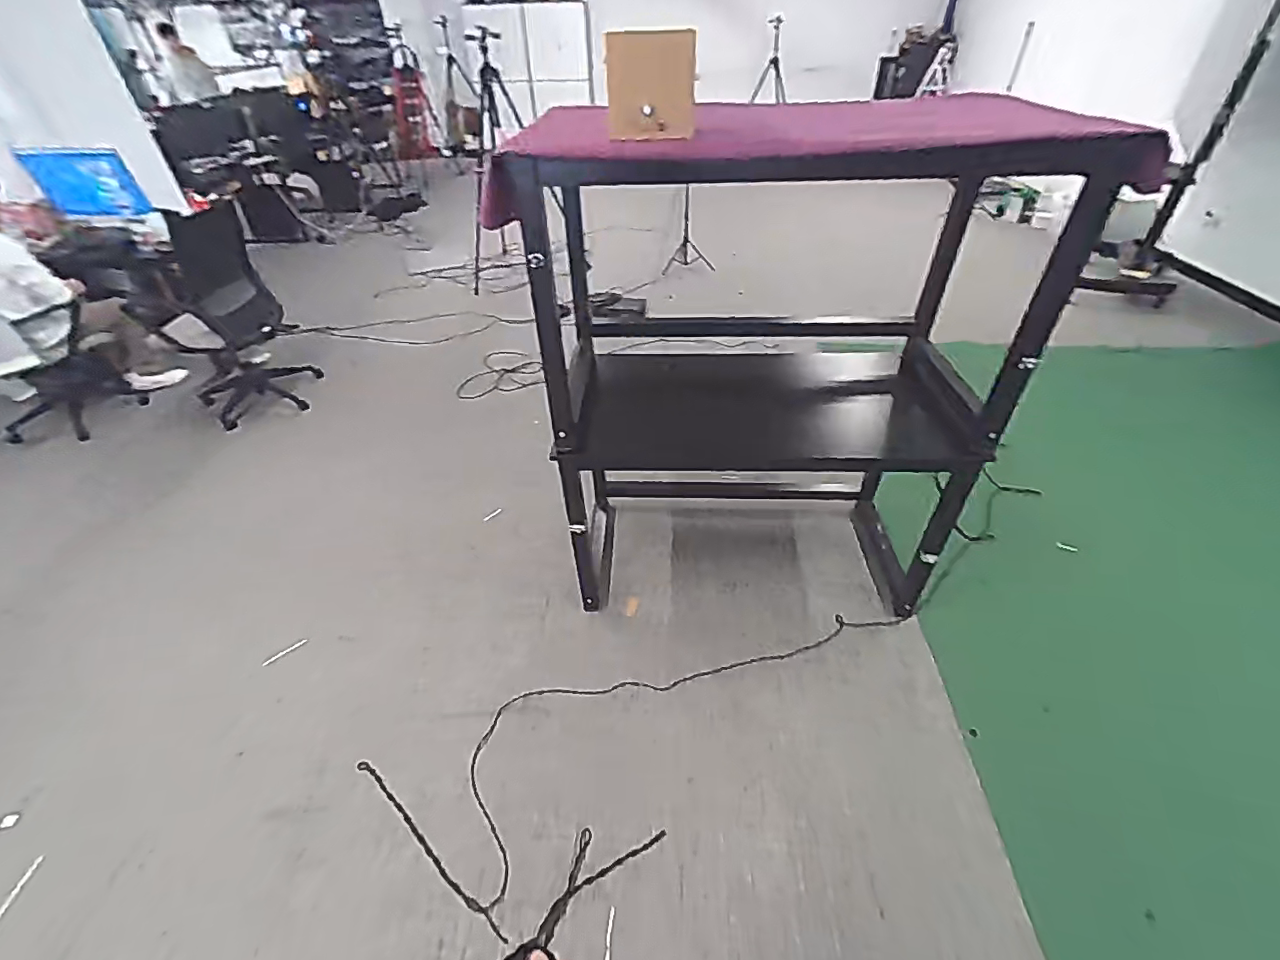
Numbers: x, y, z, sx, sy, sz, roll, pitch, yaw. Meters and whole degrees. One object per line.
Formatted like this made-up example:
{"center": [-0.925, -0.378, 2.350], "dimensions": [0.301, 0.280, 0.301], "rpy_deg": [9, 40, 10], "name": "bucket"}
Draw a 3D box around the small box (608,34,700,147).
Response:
{"center": [0.029, -0.769, 1.066], "dimensions": [0.168, 0.176, 0.179], "rpy_deg": [0, 40, 3], "name": "small box"}
